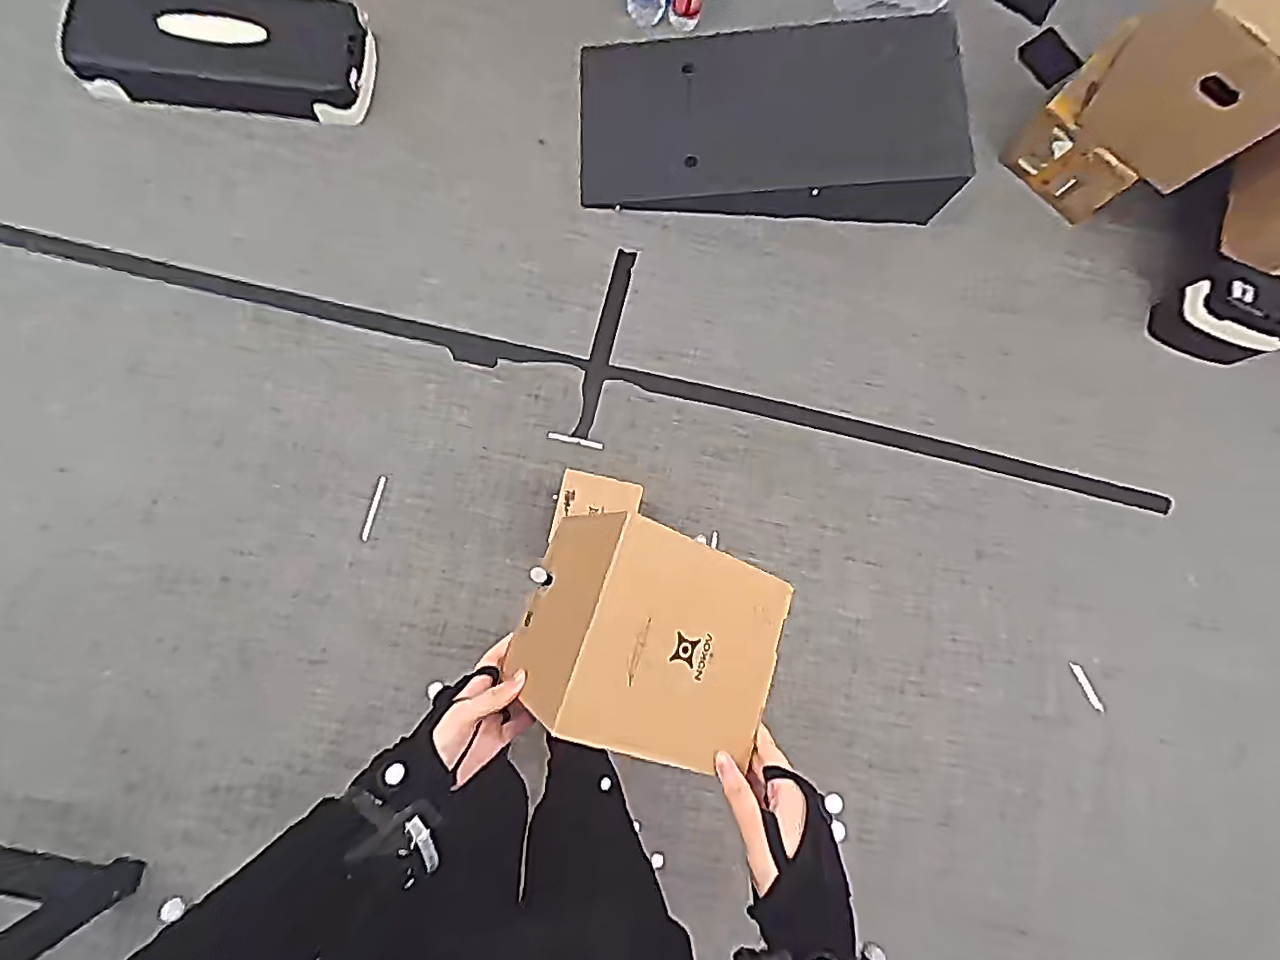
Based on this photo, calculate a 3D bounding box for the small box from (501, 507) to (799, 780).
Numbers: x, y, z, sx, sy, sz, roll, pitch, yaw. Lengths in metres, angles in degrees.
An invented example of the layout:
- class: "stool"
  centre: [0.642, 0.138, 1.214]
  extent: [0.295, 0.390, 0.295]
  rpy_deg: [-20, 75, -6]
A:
- class: "small box"
  centre: [0.002, 0.132, 0.479]
  extent: [0.179, 0.176, 0.168]
  rpy_deg: [27, 73, -22]

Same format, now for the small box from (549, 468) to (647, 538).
- class: "small box"
  centre: [-0.096, 0.083, 1.209]
  extent: [0.179, 0.176, 0.168]
  rpy_deg: [14, 80, -4]
